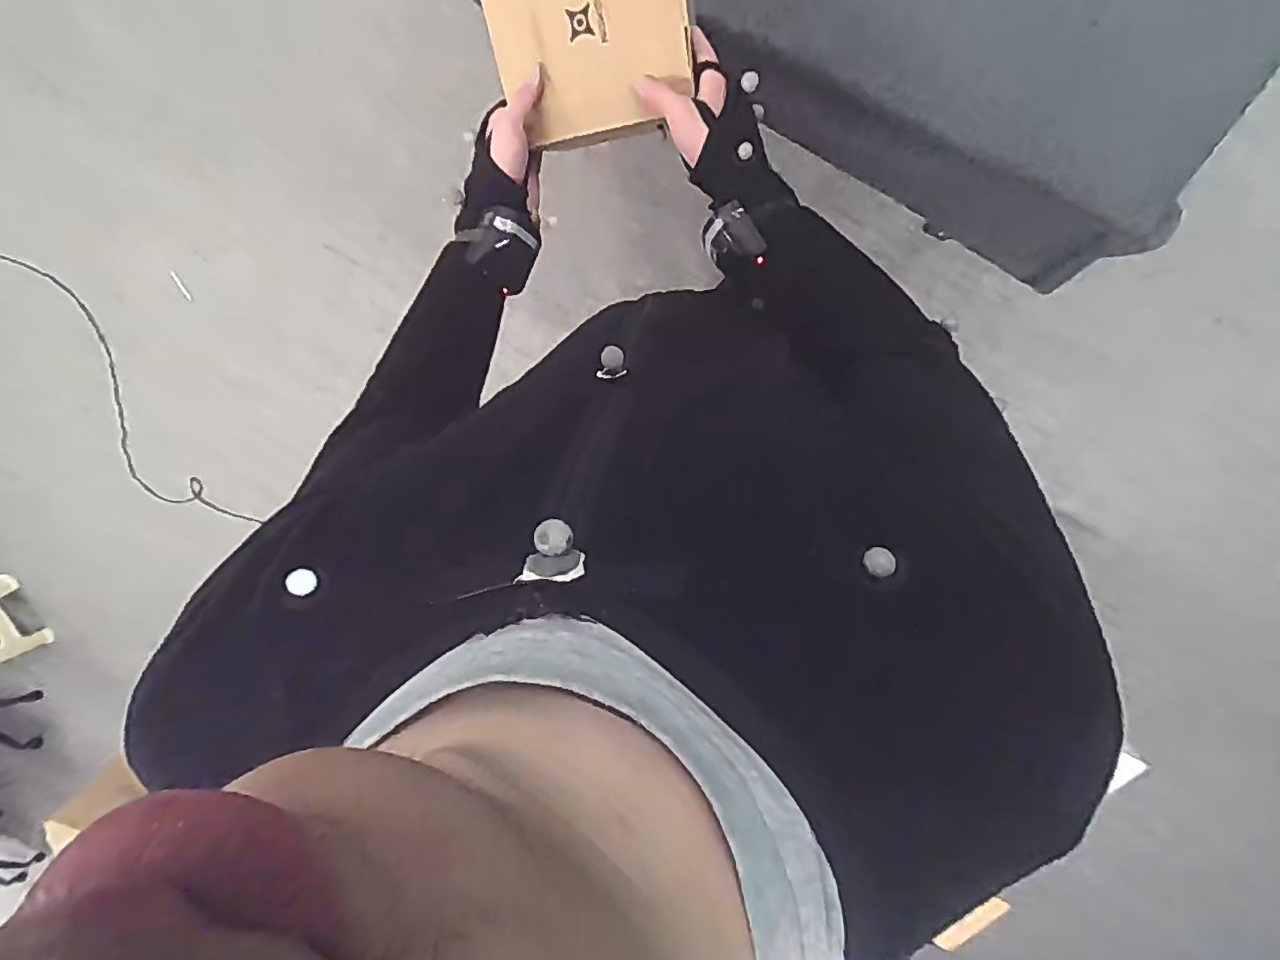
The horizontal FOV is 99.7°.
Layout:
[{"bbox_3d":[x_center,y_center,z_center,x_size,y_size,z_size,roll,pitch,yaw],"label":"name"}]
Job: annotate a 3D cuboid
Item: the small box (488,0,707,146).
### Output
[{"bbox_3d":[-0.030,-0.435,0.522,0.179,0.176,0.168,-5,119,13],"label":"small box"}]
